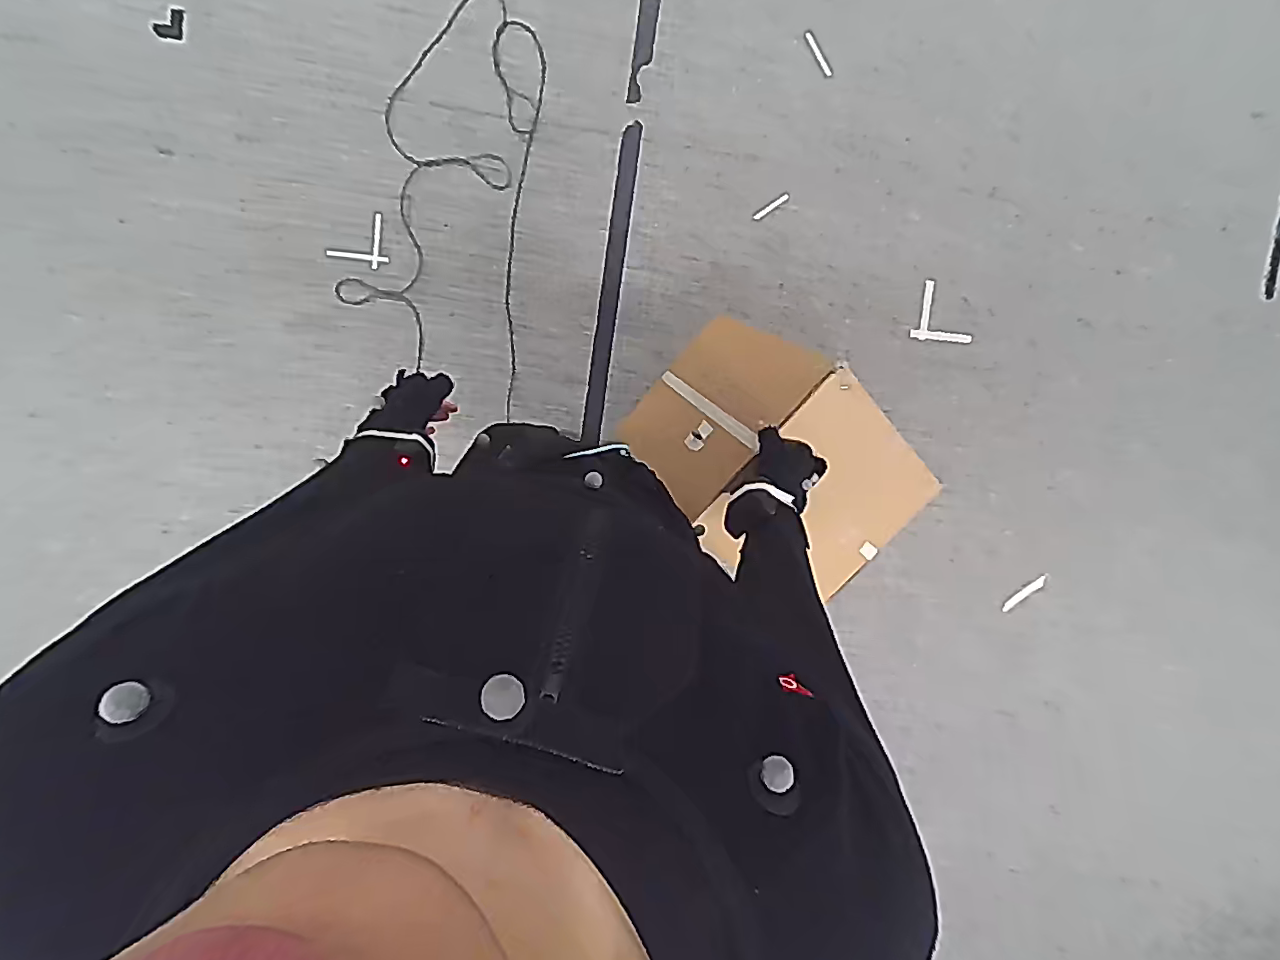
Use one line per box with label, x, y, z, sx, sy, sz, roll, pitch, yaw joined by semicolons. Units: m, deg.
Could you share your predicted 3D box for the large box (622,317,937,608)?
large box;0.223;-0.050;0.983;0.320;0.408;0.320;36;100;-29
